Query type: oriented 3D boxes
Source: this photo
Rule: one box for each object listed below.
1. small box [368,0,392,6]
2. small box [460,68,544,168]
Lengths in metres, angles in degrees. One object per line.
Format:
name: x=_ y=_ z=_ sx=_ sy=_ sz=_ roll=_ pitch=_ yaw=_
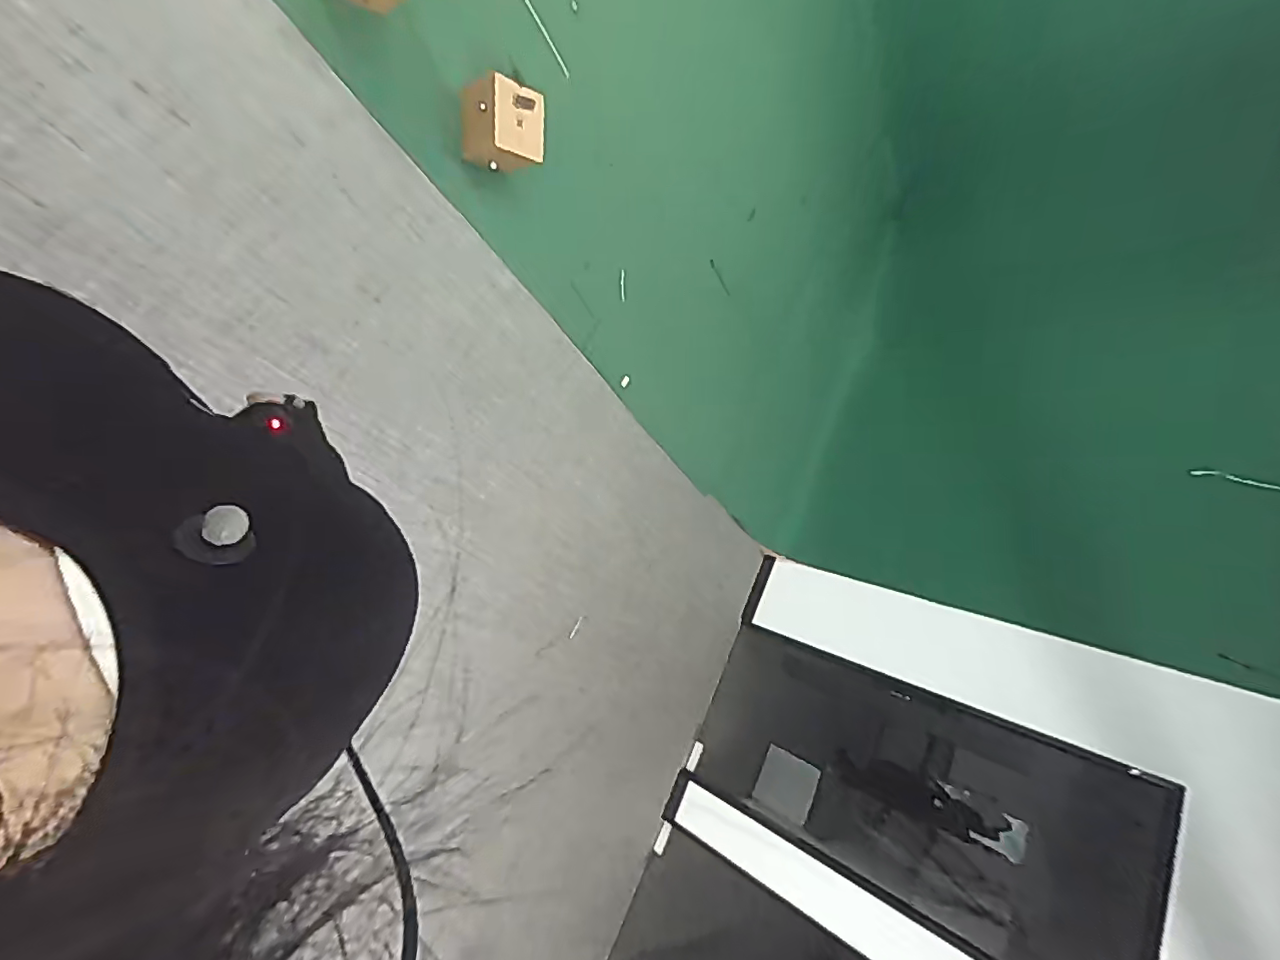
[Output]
small box: x=-0.618 y=-1.198 z=1.188 sx=0.168 sy=0.176 sz=0.179 roll=-21 pitch=116 yaw=-45
small box: x=-0.389 y=-1.004 z=1.519 sx=0.168 sy=0.176 sz=0.179 roll=-13 pitch=111 yaw=-48
